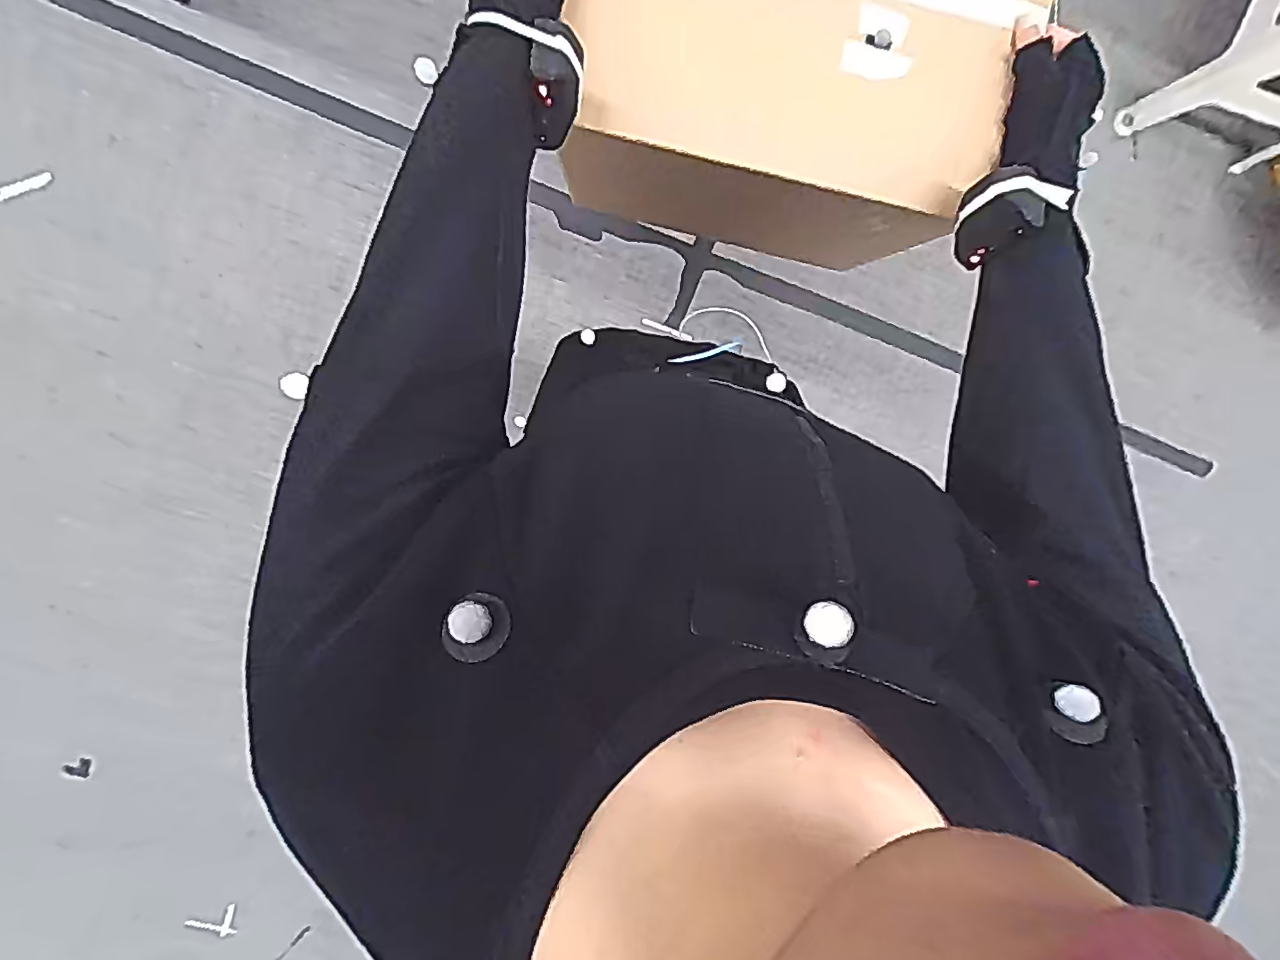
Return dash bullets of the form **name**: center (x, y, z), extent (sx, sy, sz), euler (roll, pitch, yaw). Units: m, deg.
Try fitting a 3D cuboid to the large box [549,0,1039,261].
- **large box**: center (0.136, -0.463, 0.596), extent (0.408, 0.320, 0.320), euler (12, 104, -5)
